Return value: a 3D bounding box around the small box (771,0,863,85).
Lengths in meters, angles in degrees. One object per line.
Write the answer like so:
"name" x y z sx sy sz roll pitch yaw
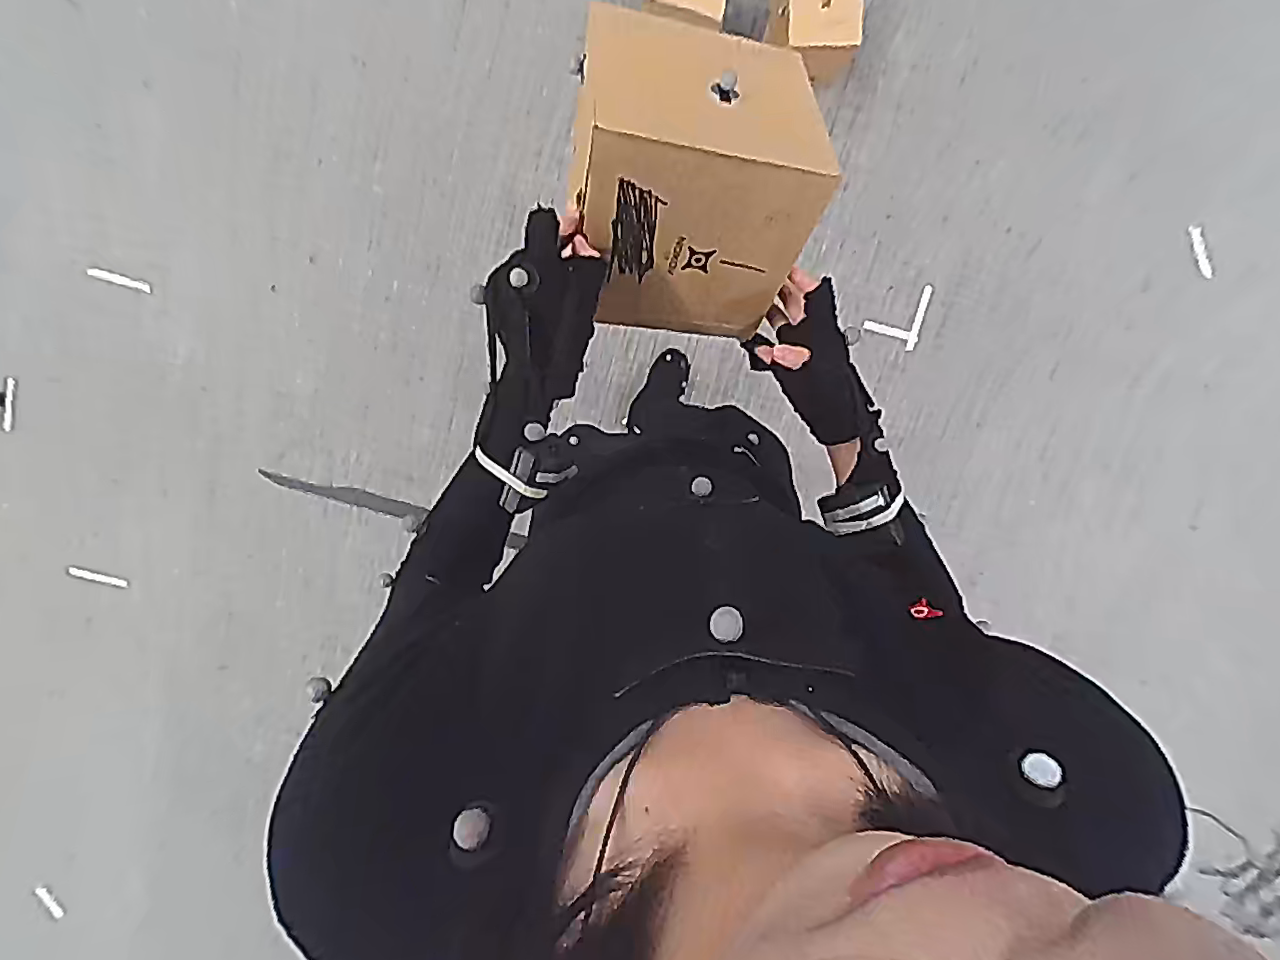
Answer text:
"small box" 0.405 -1.060 1.259 0.168 0.176 0.179 -3 101 -1

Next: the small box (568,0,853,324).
"small box" 0.037 -0.258 0.446 0.179 0.168 0.176 3 62 -13
